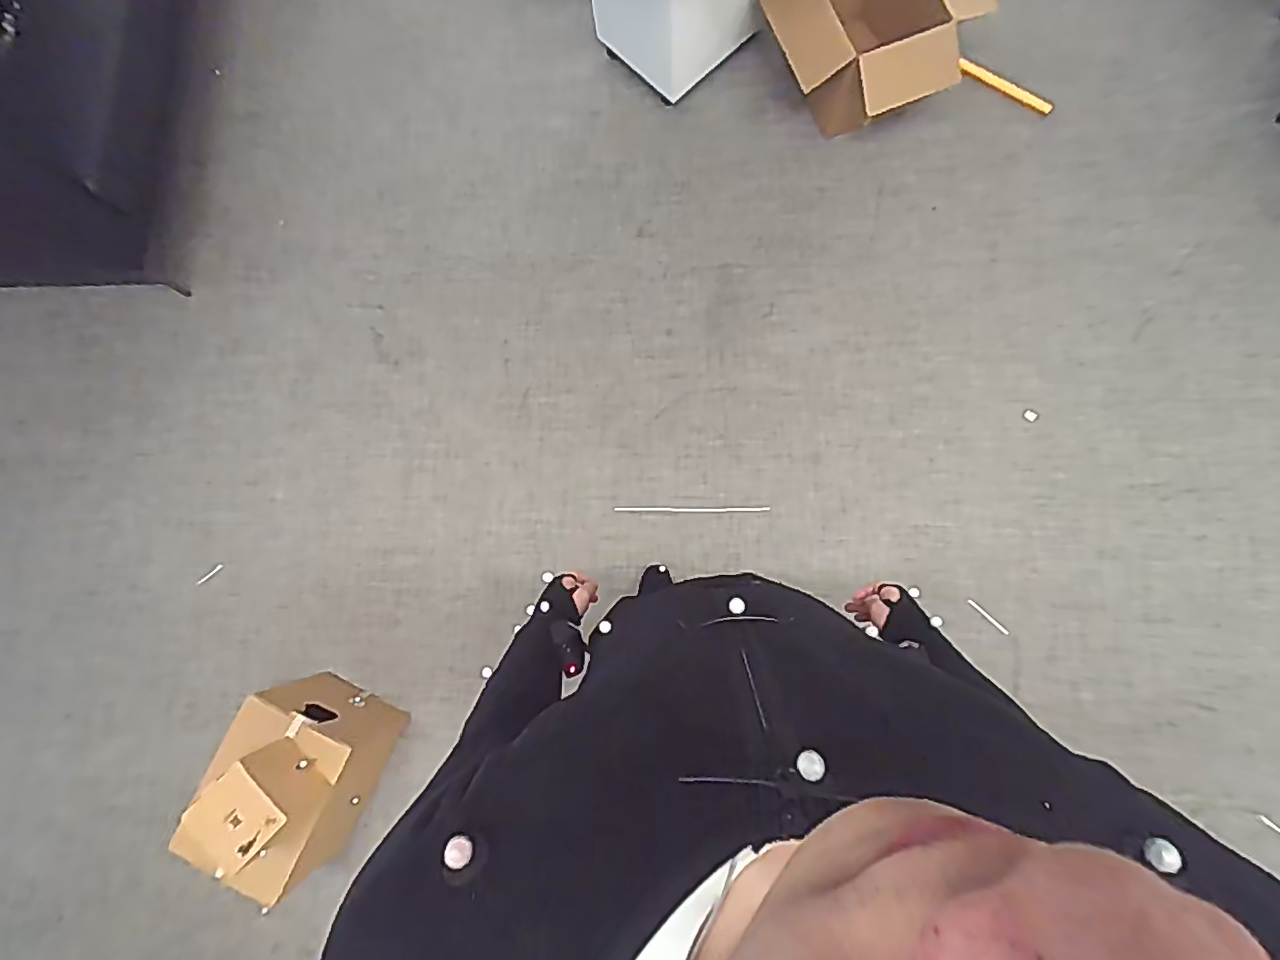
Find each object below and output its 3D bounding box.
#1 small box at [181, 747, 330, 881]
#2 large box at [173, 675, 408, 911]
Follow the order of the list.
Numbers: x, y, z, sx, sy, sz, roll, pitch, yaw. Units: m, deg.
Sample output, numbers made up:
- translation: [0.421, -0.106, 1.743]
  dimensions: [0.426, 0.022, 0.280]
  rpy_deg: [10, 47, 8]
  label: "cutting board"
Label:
- translation: [-0.856, 0.735, 1.221]
  dimensions: [0.179, 0.176, 0.168]
  rpy_deg: [44, 85, 8]
  label: "small box"
- translation: [-0.909, 0.804, 1.462]
  dimensions: [0.320, 0.320, 0.408]
  rpy_deg: [23, 83, 7]
  label: "large box"
